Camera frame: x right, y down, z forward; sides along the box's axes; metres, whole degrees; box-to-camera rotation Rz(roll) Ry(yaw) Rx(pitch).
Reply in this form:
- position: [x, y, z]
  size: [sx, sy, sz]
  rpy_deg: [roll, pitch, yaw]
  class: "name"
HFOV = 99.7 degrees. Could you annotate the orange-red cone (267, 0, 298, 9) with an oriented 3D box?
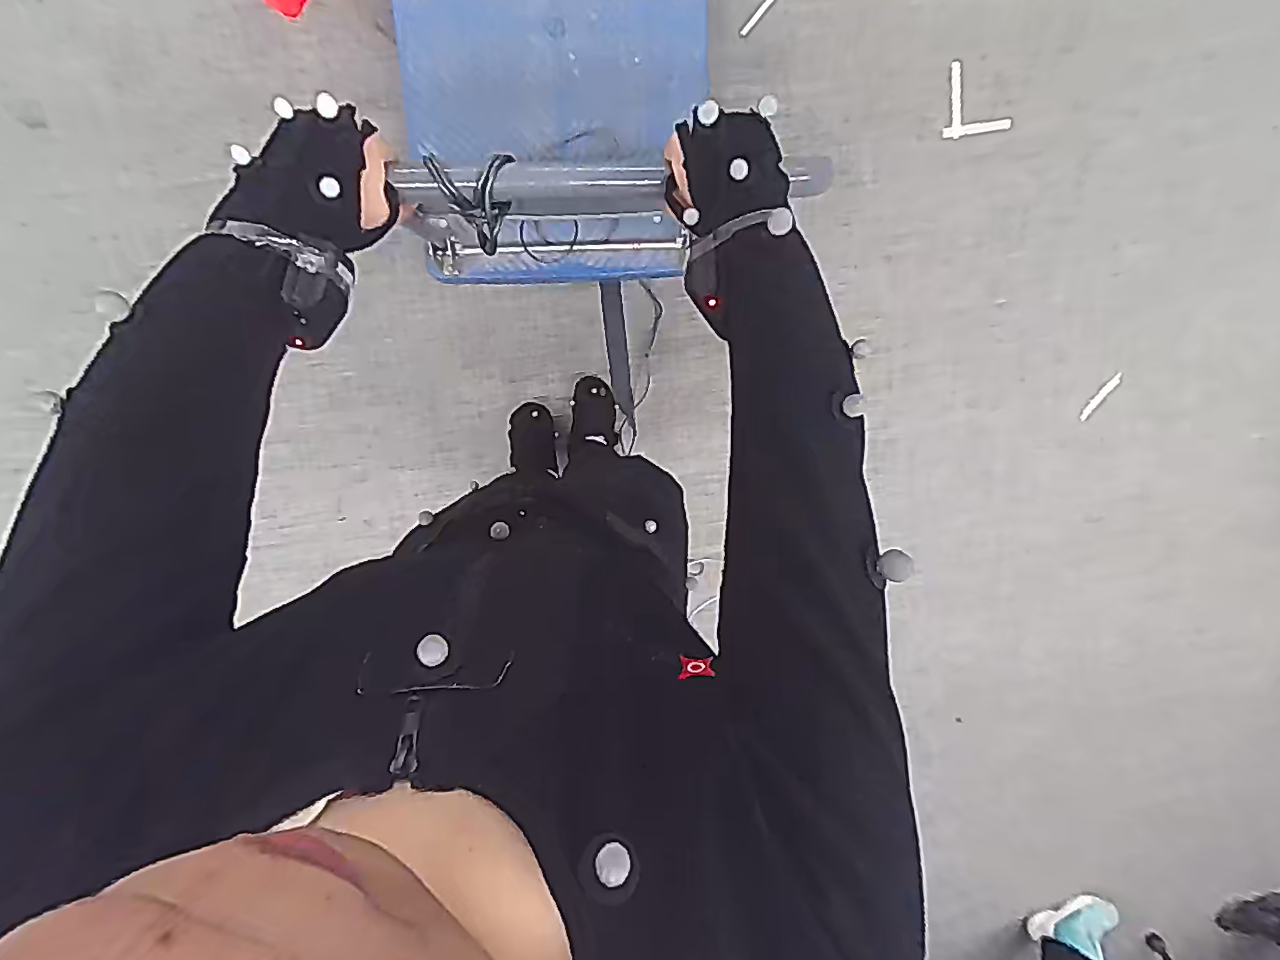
- position: [-0.692, -1.018, 0.877]
  size: [0.198, 0.360, 0.199]
  rpy_deg: [37, 95, -14]
  class: "orange-red cone"
